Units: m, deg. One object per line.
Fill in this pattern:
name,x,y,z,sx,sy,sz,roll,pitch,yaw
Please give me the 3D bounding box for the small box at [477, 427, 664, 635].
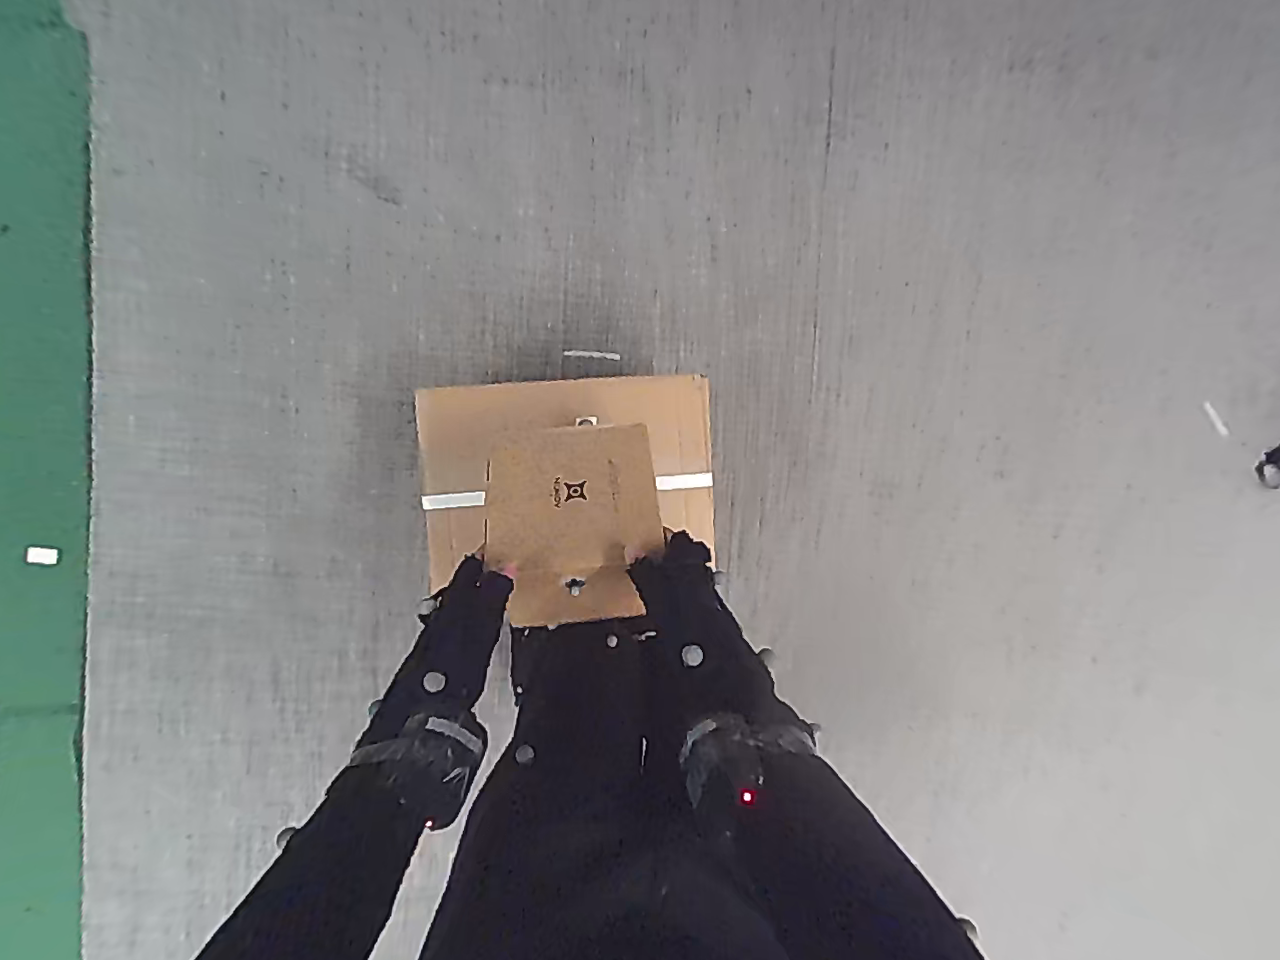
small box,-0.071,0.062,0.605,0.179,0.176,0.168,-5,55,-5
